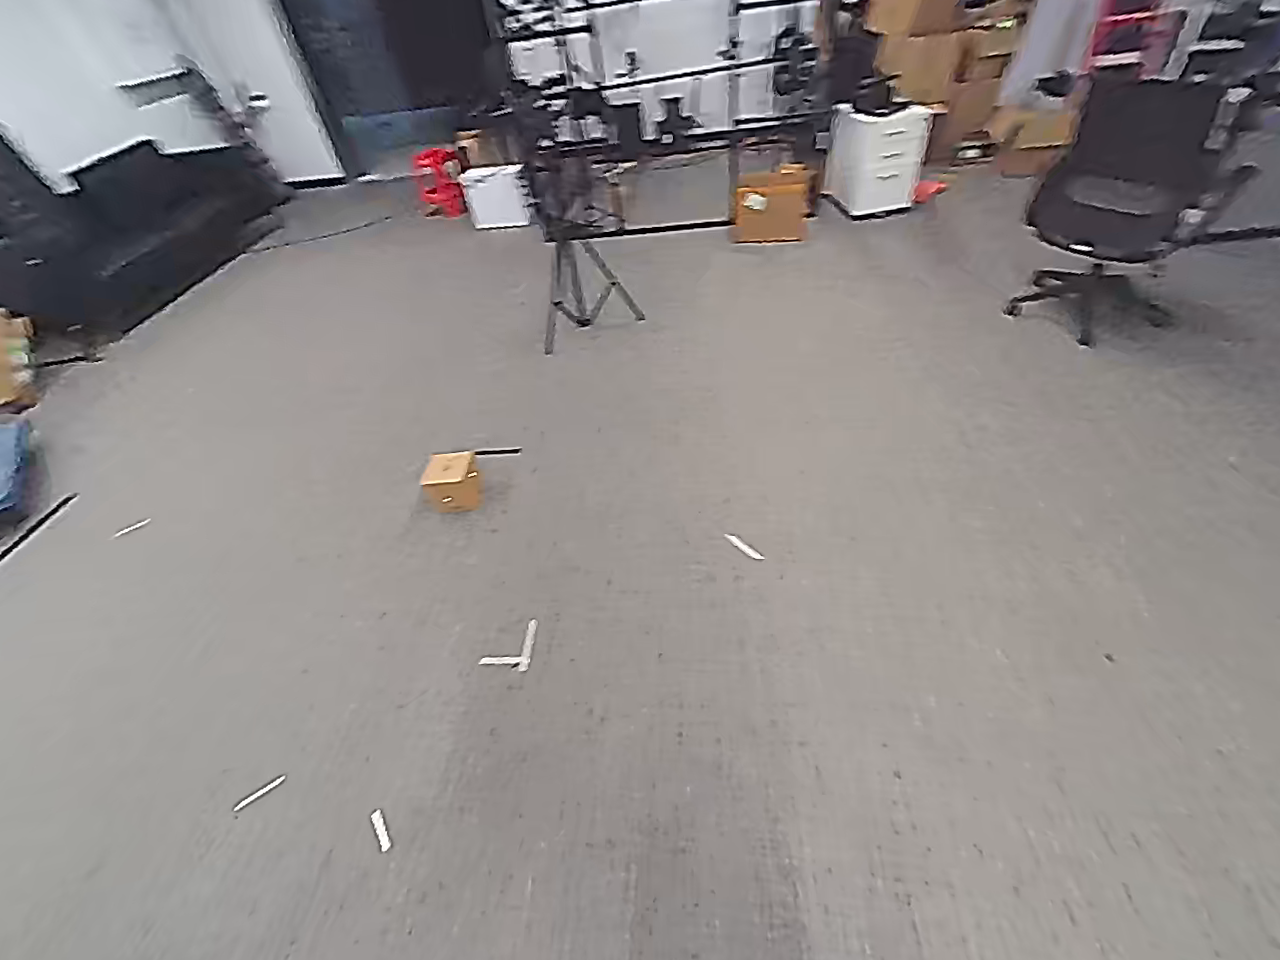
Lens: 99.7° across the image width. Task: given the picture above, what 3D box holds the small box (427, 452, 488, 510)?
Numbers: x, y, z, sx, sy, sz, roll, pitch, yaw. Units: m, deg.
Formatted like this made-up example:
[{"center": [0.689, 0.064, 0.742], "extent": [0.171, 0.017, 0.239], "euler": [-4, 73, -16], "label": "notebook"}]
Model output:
[{"center": [-0.729, 0.011, 2.185], "extent": [0.168, 0.176, 0.179], "euler": [-4, 43, 6], "label": "small box"}]
